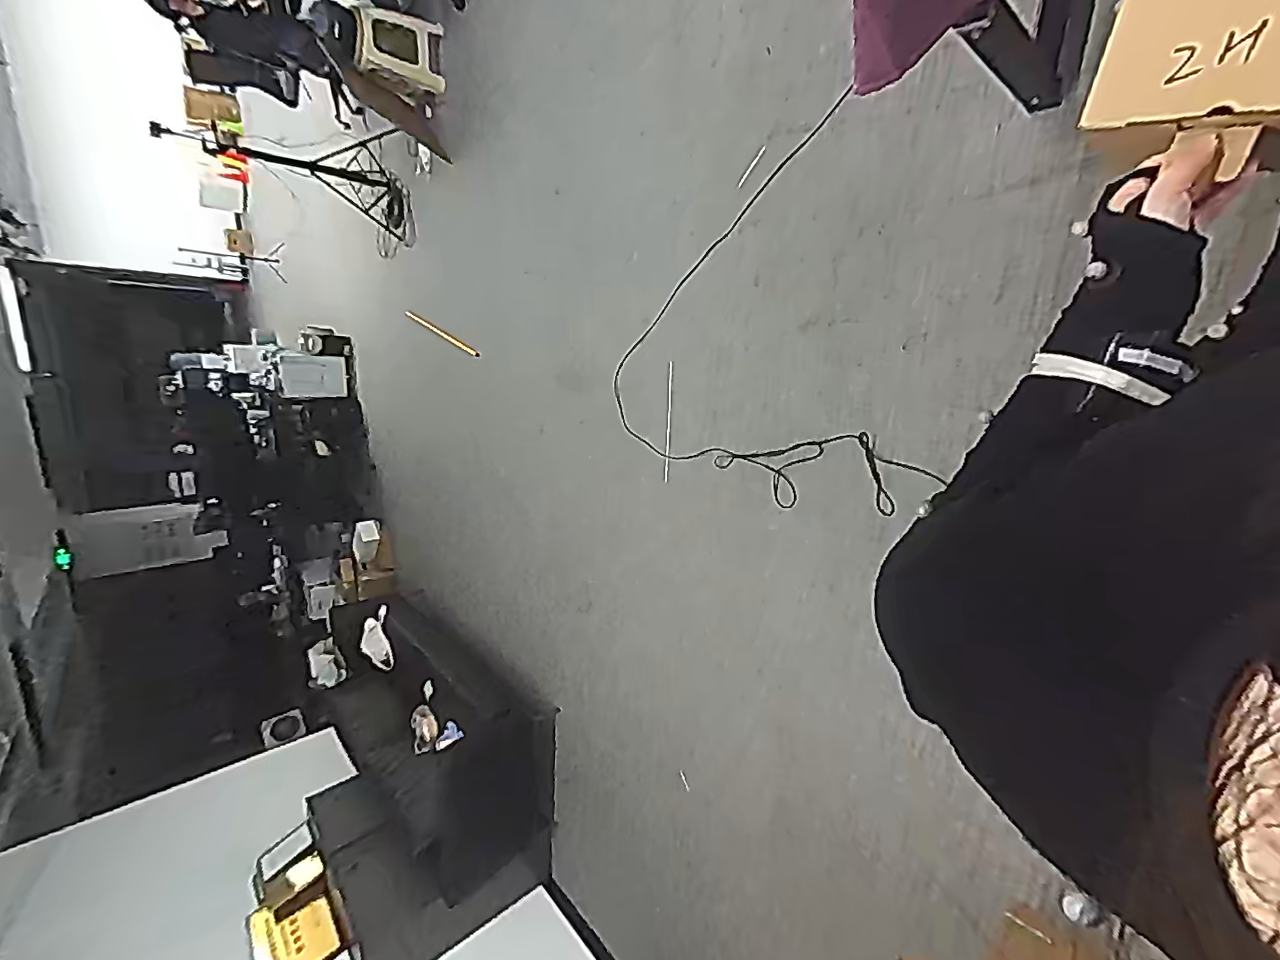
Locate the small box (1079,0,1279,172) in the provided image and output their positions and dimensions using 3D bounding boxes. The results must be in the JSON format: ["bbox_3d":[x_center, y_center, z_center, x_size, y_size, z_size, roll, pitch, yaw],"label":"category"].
[{"bbox_3d":[0.474,-0.347,0.400,0.168,0.176,0.179,30,119,43],"label":"small box"}]
